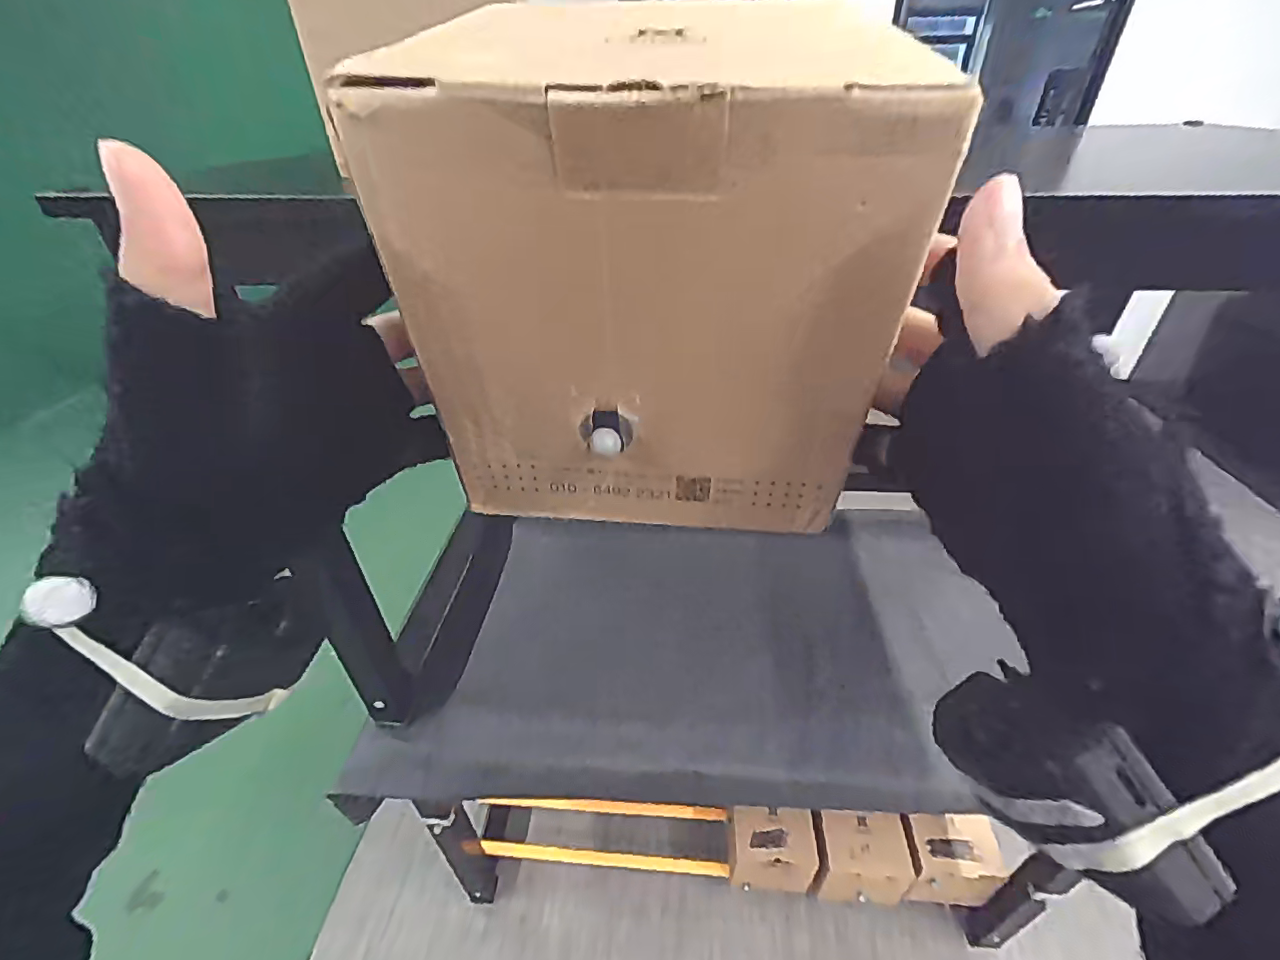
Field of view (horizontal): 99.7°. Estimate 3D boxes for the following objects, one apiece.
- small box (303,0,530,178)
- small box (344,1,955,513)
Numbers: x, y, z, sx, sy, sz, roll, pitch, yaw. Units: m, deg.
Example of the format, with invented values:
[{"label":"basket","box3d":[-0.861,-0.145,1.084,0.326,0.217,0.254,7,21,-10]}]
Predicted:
[{"label":"small box","box3d":[-0.179,-0.375,0.485,0.168,0.176,0.179,-6,37,-5]},{"label":"small box","box3d":[0.007,-0.107,0.256,0.168,0.176,0.179,3,46,4]}]
